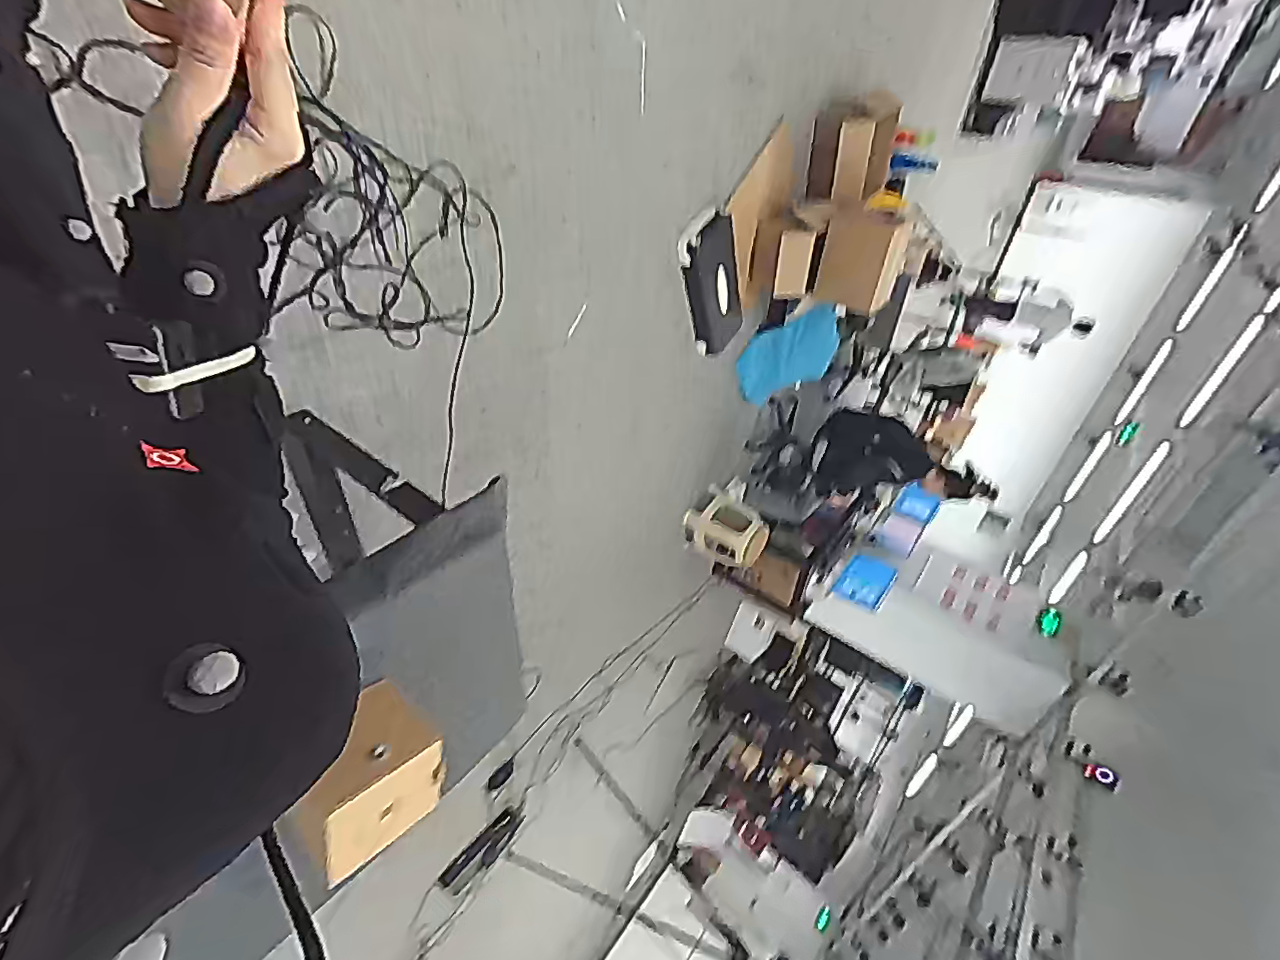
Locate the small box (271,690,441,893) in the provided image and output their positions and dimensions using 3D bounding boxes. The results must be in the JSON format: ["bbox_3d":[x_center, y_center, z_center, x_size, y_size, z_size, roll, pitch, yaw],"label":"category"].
[{"bbox_3d":[-0.438,0.467,0.842,0.179,0.176,0.168,-20,129,-50],"label":"small box"}]
